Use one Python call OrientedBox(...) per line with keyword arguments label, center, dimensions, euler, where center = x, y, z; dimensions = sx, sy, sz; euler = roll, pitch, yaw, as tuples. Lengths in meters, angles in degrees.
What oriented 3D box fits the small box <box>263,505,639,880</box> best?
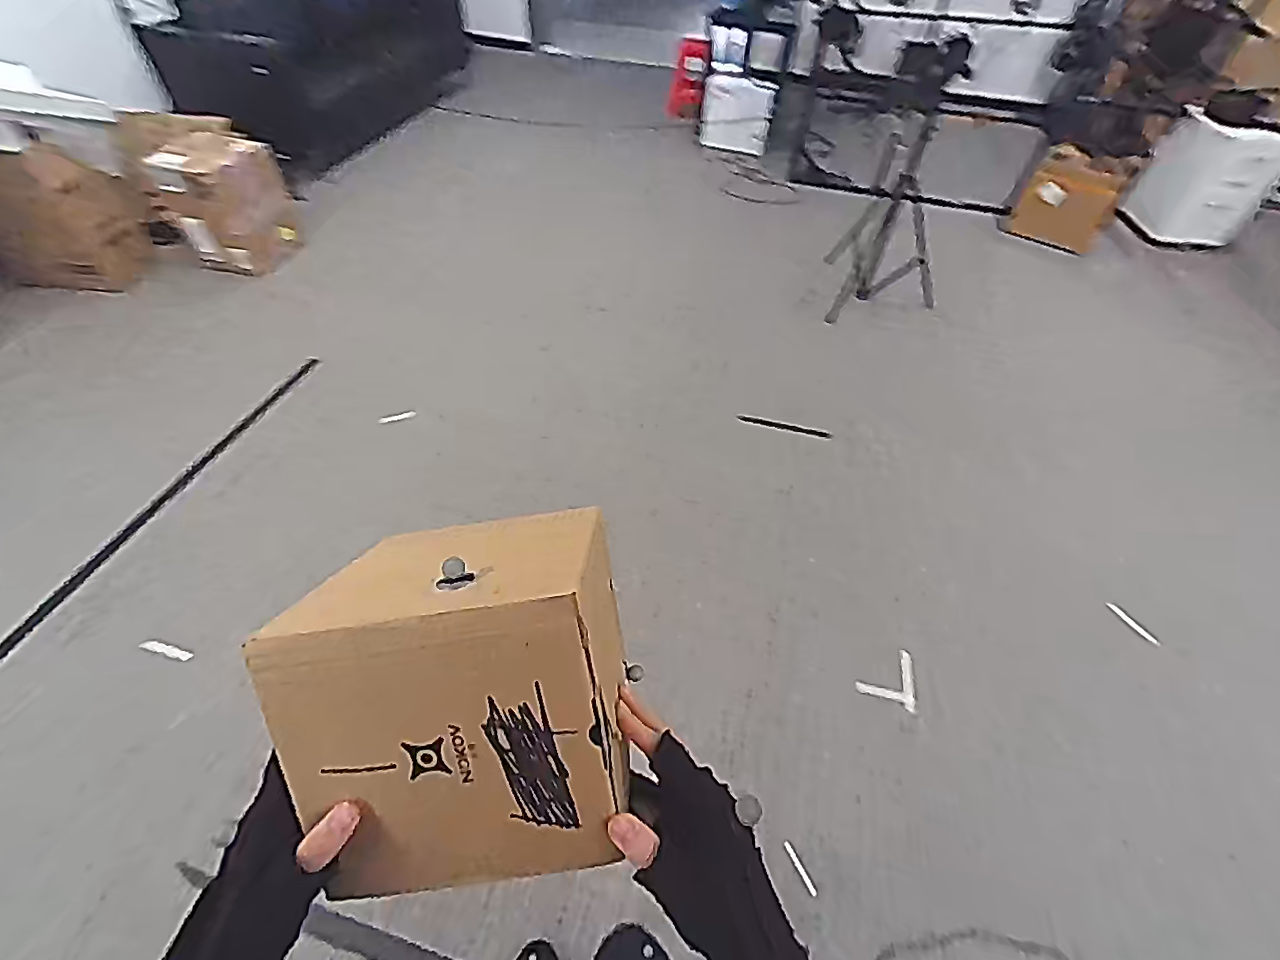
OrientedBox(label="small box", center=(-0.096, 0.121, 0.366), dimensions=(0.179, 0.168, 0.176), euler=(-7, 11, 2))
